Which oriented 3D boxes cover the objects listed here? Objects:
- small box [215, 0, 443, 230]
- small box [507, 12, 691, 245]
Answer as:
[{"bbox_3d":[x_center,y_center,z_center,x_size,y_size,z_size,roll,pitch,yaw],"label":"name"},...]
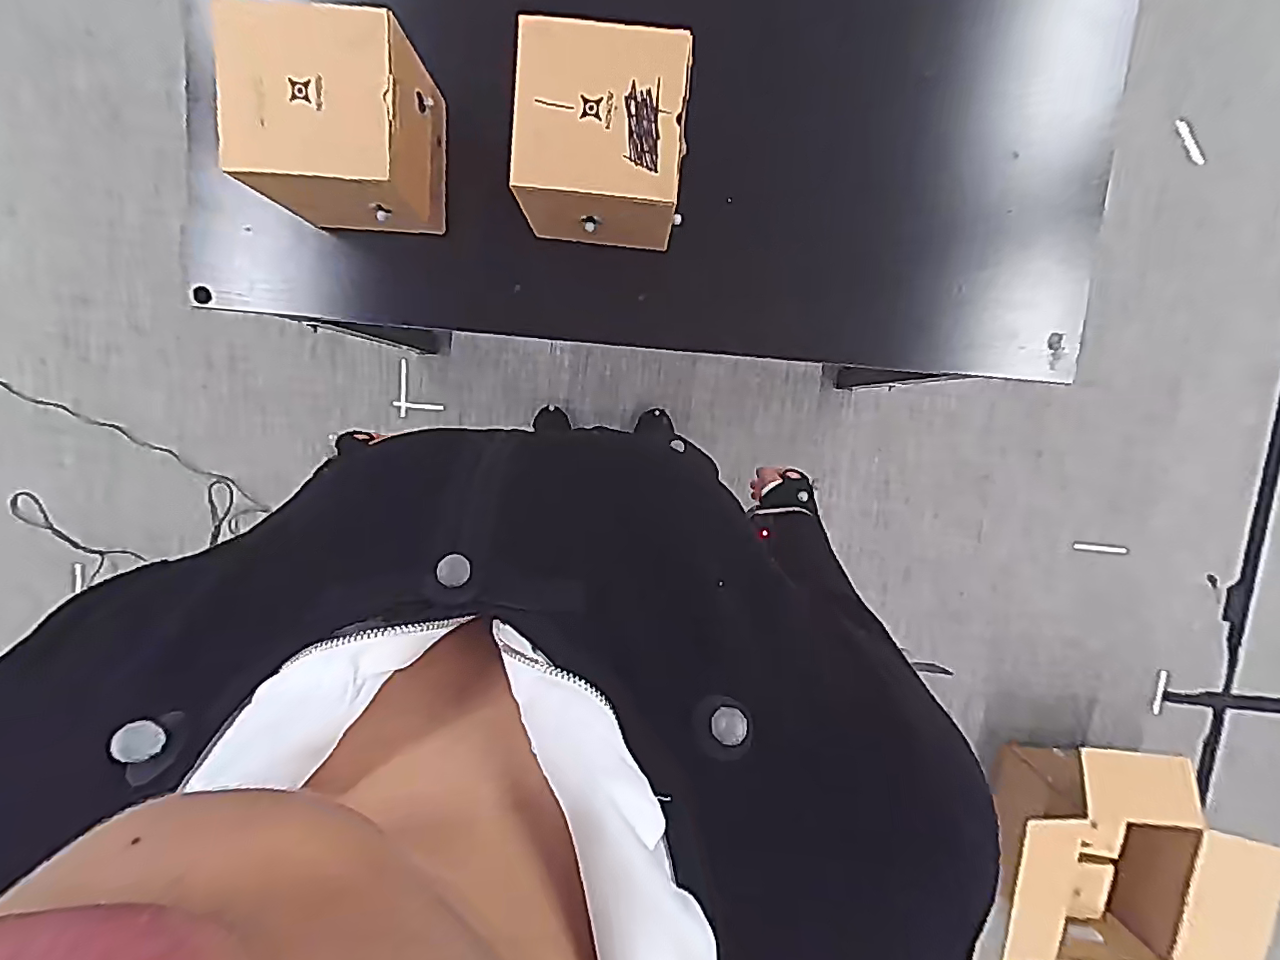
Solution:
[{"bbox_3d":[-0.339,-0.403,0.625,0.179,0.176,0.168,2,96,-1],"label":"small box"},{"bbox_3d":[-0.044,-0.388,0.631,0.179,0.176,0.168,6,97,-1],"label":"small box"}]
